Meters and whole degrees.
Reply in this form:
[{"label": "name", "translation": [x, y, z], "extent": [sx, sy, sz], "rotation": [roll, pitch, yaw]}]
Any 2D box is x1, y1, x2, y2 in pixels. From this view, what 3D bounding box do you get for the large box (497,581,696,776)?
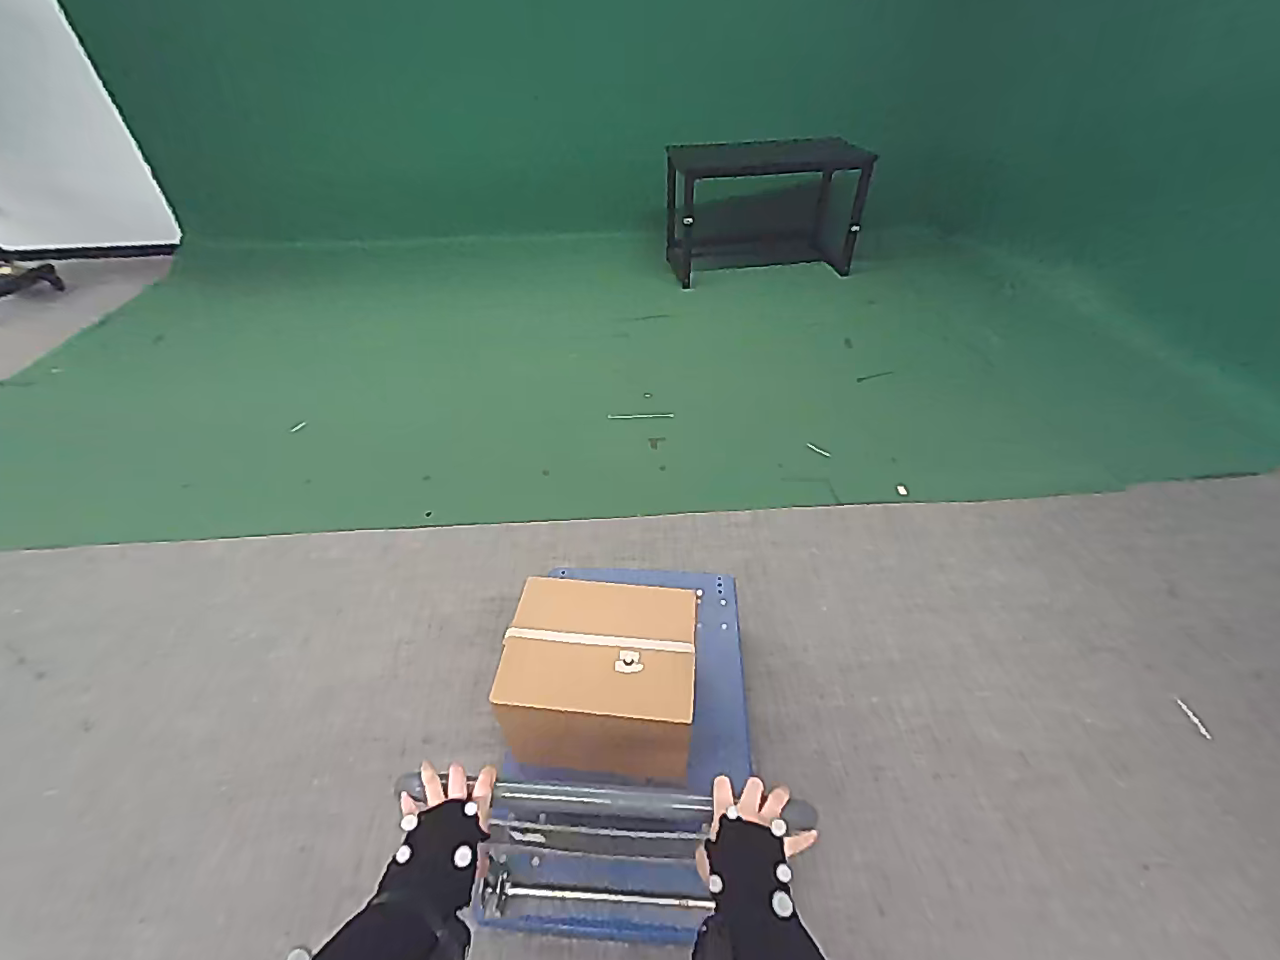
[{"label": "large box", "translation": [-0.082, 0.468, 1.281], "extent": [0.408, 0.320, 0.320], "rotation": [4, 42, 4]}]
